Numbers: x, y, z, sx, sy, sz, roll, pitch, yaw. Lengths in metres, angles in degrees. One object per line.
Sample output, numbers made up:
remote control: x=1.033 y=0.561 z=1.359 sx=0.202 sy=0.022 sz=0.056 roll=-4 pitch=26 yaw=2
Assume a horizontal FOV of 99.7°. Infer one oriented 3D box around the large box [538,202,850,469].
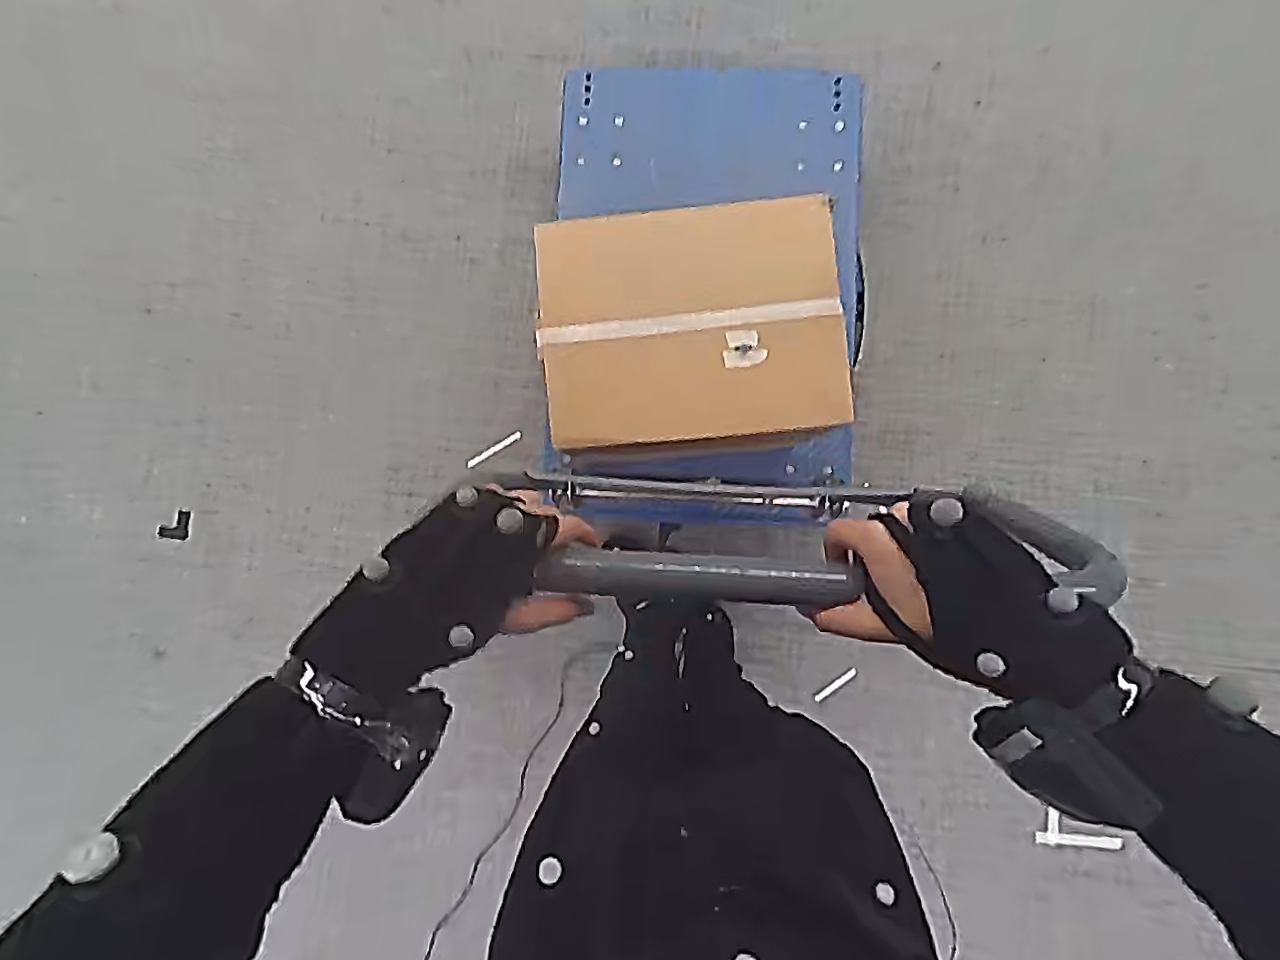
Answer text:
large box: x=0.072 y=-0.200 z=0.881 sx=0.408 sy=0.320 sz=0.320 roll=-5 pitch=88 yaw=1
